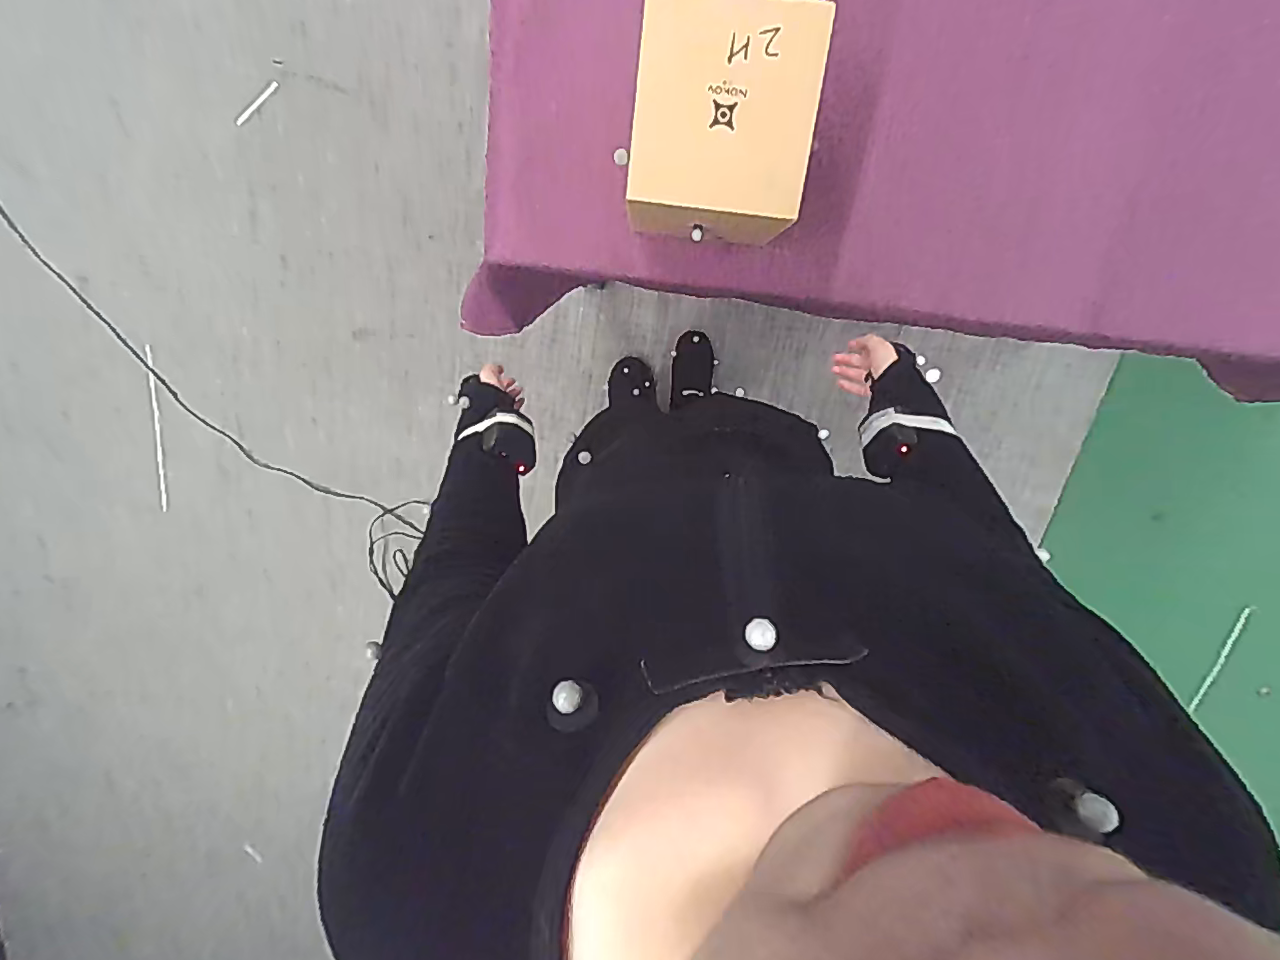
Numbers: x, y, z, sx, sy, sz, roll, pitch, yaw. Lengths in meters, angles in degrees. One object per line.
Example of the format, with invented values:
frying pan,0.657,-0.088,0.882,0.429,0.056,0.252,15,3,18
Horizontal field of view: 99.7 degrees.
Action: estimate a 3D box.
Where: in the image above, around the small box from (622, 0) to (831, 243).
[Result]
small box,0.078,-0.357,0.565,0.168,0.176,0.179,7,105,0
